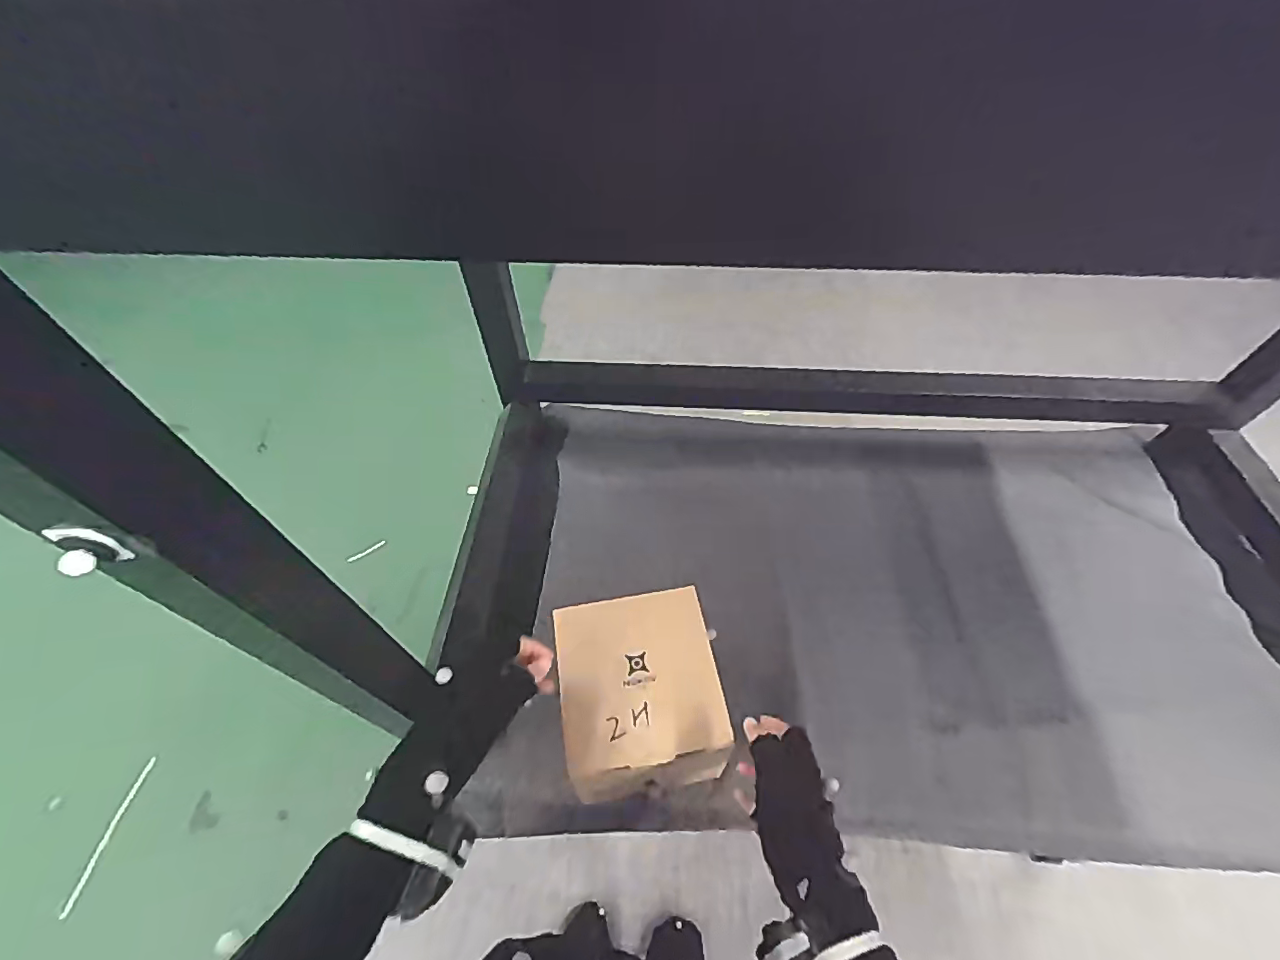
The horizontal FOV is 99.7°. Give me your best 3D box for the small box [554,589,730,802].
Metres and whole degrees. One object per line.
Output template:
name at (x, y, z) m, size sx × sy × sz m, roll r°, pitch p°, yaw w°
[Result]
small box at (-0.004, 0.253, 0.632) m, size 0.168 × 0.176 × 0.179 m, roll -9°, pitch 53°, yaw -5°
